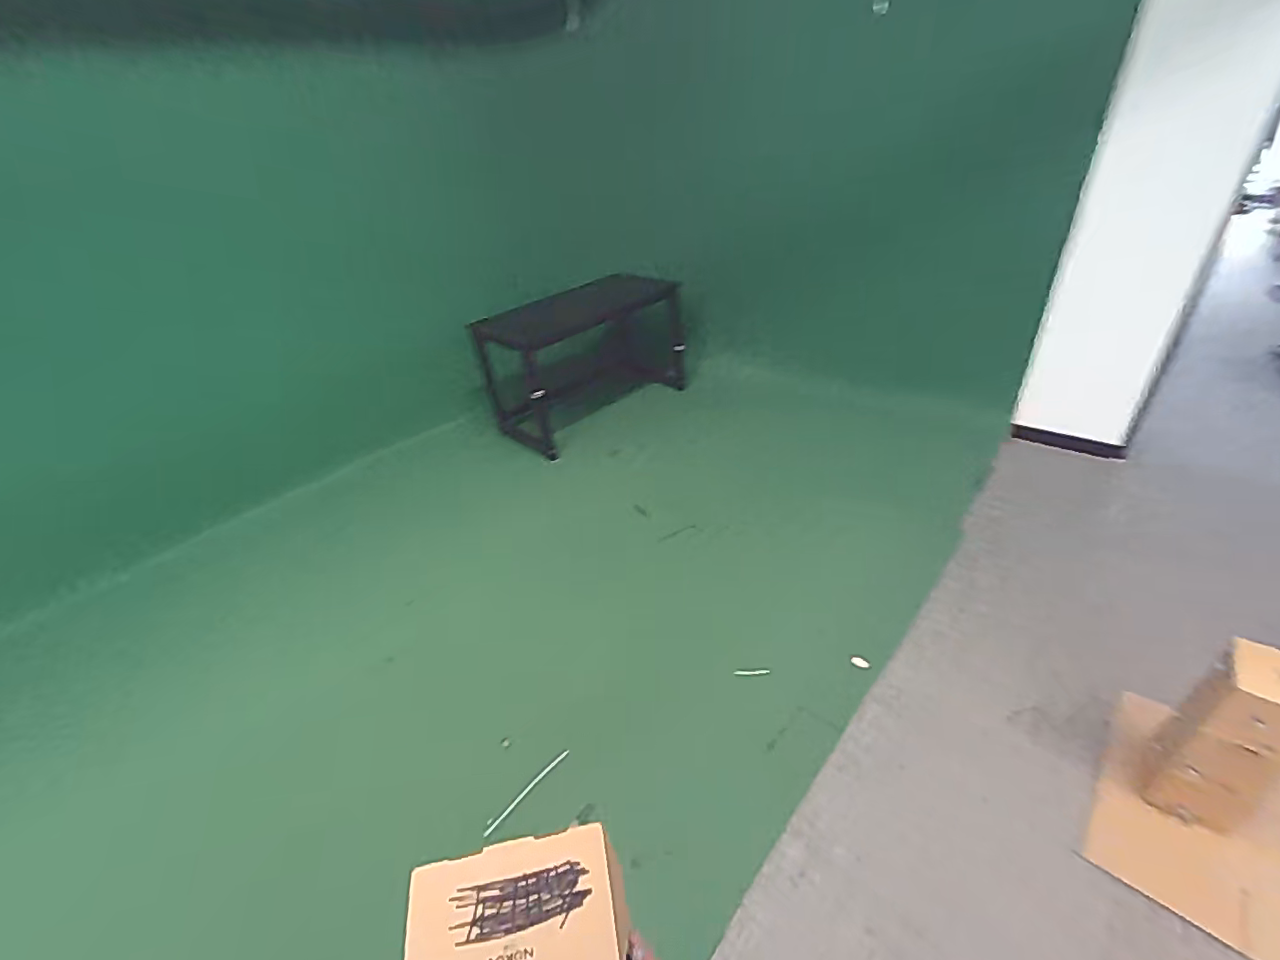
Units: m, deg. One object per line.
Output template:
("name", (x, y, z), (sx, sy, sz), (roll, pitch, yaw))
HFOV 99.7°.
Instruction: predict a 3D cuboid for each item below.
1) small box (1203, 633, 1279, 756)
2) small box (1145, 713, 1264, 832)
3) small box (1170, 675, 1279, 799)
("small box", (1.410, 0.487, 1.211), (0.168, 0.176, 0.179), (20, 42, 35))
("small box", (1.442, 0.754, 1.396), (0.168, 0.176, 0.179), (17, 42, 32))
("small box", (1.424, 0.619, 1.304), (0.168, 0.176, 0.179), (20, 42, 34))
